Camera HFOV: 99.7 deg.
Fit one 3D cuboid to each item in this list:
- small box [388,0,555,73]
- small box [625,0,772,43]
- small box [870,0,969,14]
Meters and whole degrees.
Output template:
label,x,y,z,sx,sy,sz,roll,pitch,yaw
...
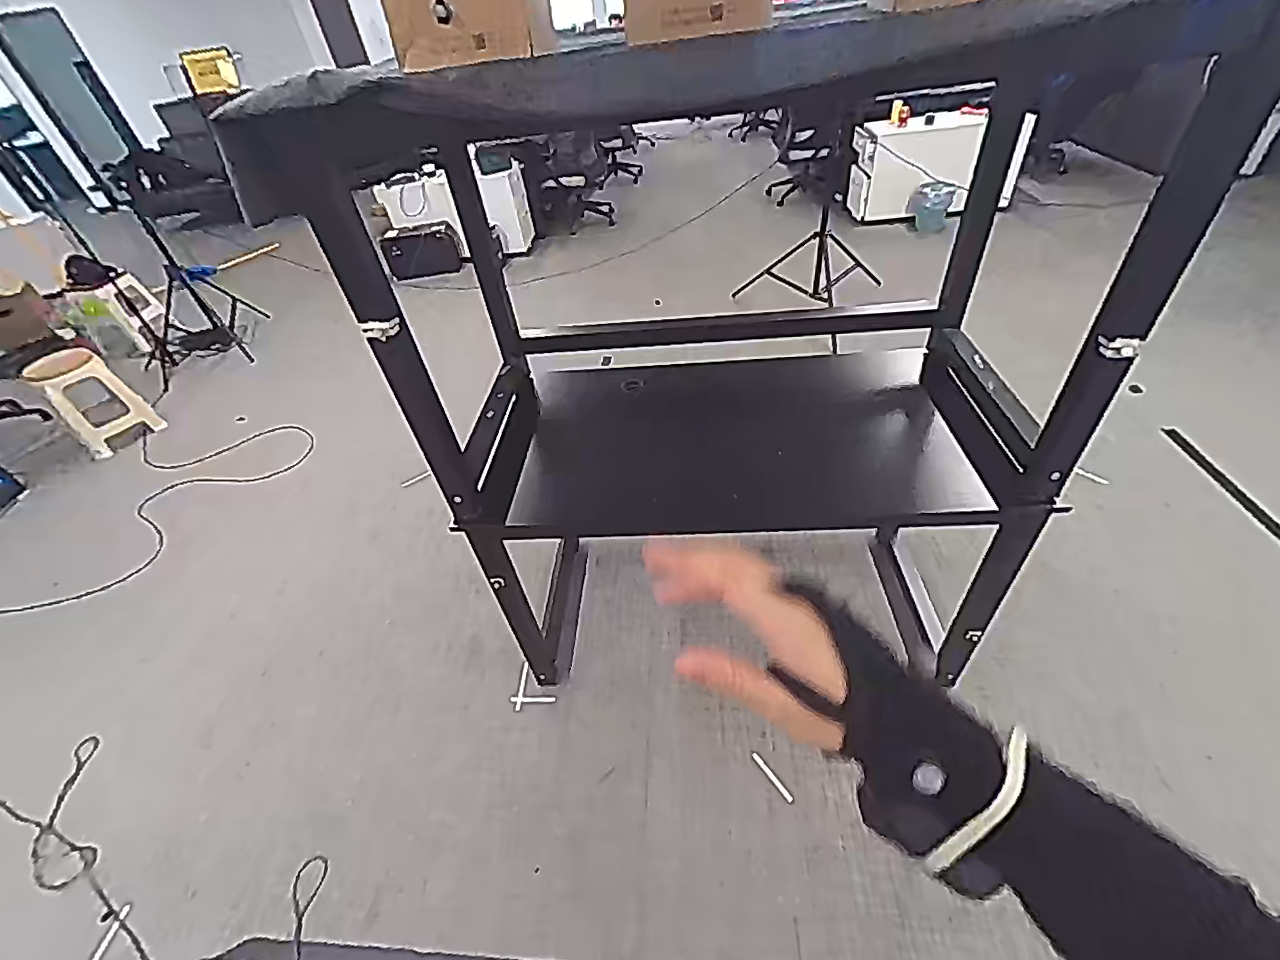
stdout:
label,x,y,z,sx,sy,sz,roll,pitch,yaw
small box,-0.205,-0.605,0.654,0.168,0.176,0.179,-2,41,5
small box,0.065,-0.619,0.623,0.168,0.176,0.179,-2,40,8
small box,0.363,-0.634,0.592,0.168,0.176,0.179,0,41,10
